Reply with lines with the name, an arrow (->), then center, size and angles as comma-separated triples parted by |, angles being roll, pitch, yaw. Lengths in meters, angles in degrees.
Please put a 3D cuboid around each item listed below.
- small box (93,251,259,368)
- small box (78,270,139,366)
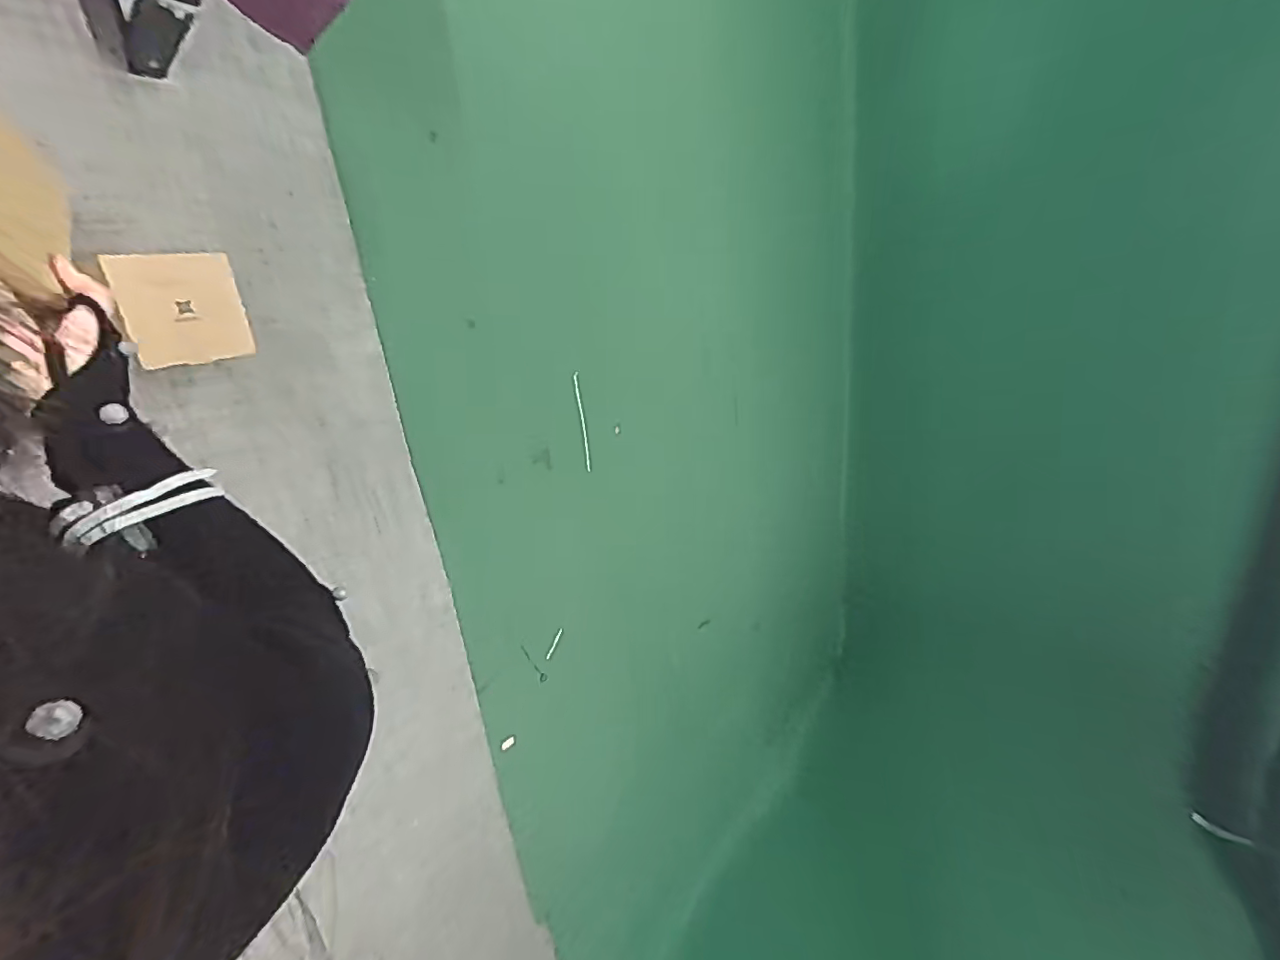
small box -> -0.810, -0.298, 0.948 | 0.168, 0.176, 0.179 | -26, 117, -45
small box -> -0.938, -0.317, 1.048 | 0.179, 0.176, 0.168 | -28, 119, -43
